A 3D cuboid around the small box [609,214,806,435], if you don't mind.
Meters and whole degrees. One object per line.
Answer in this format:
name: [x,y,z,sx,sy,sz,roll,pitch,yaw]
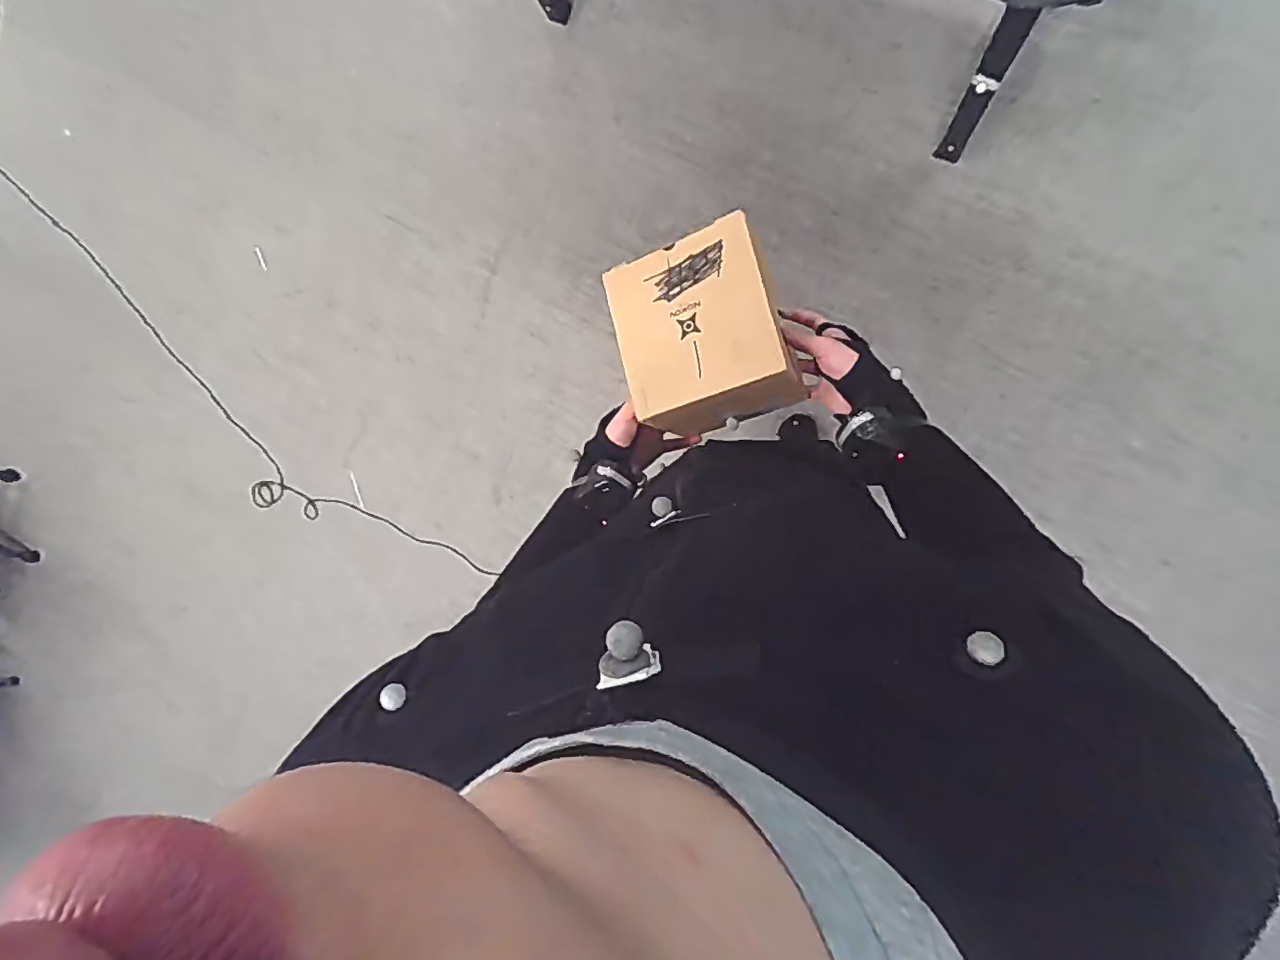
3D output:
small box: [0.086,-0.165,0.638,0.168,0.176,0.179,-16,82,23]
